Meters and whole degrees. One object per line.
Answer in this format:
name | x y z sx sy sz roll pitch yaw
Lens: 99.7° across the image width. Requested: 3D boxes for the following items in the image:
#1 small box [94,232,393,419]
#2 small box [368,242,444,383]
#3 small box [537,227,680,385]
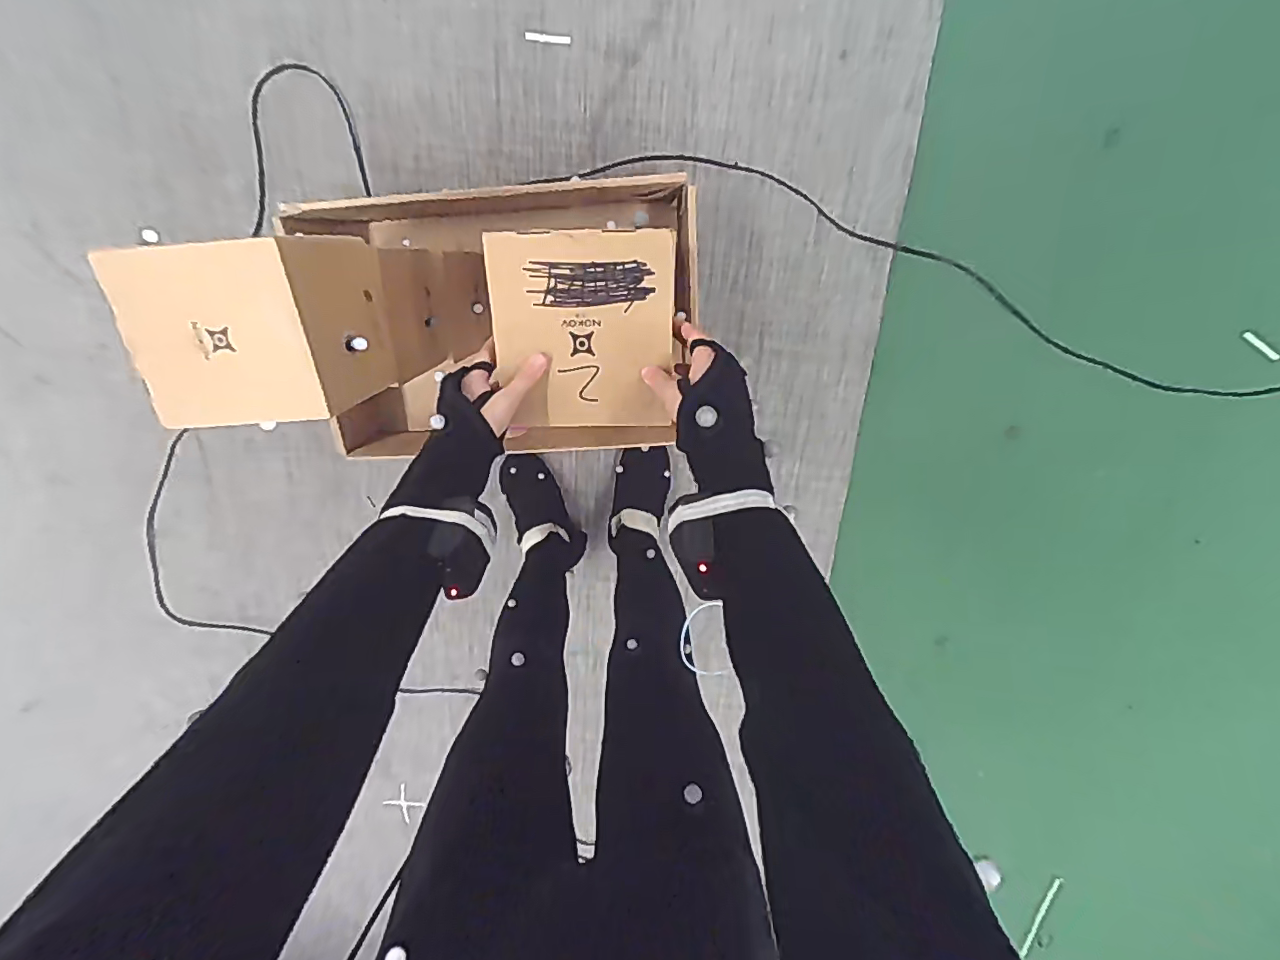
small box | -0.385 -0.170 0.572 0.179 0.176 0.168 -3 113 3
small box | -0.383 -0.230 0.723 0.179 0.176 0.168 1 112 0
small box | -0.036 -0.231 0.715 0.168 0.176 0.179 2 110 0
